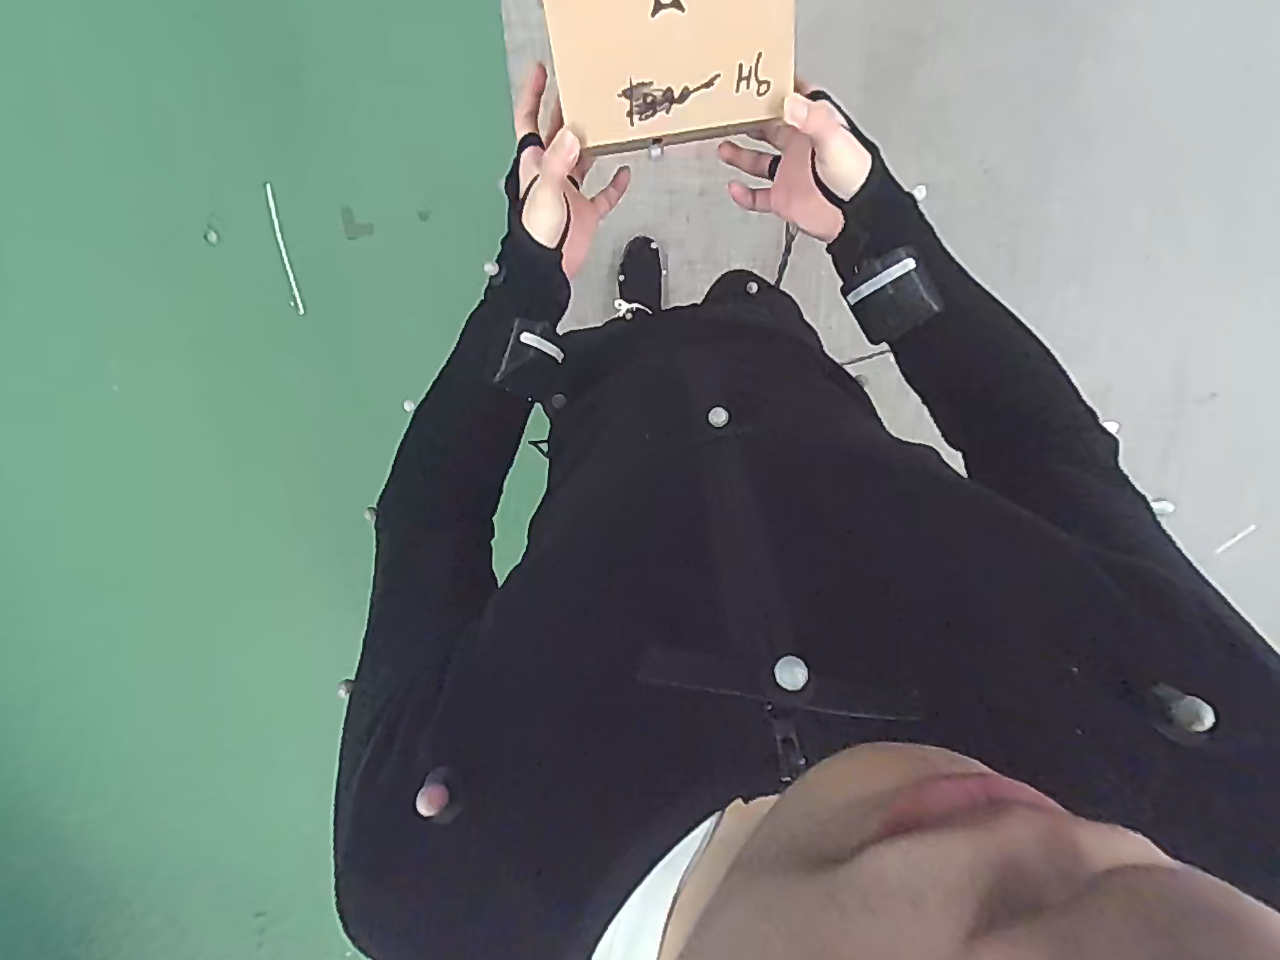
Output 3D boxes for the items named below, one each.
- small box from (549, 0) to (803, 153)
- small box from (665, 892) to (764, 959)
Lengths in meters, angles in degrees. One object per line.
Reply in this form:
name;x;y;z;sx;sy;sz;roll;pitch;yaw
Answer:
small box;0.021;-0.361;0.408;0.168;0.176;0.179;-5;119;4
small box;0.134;0.885;0.982;0.168;0.176;0.179;-3;112;0
